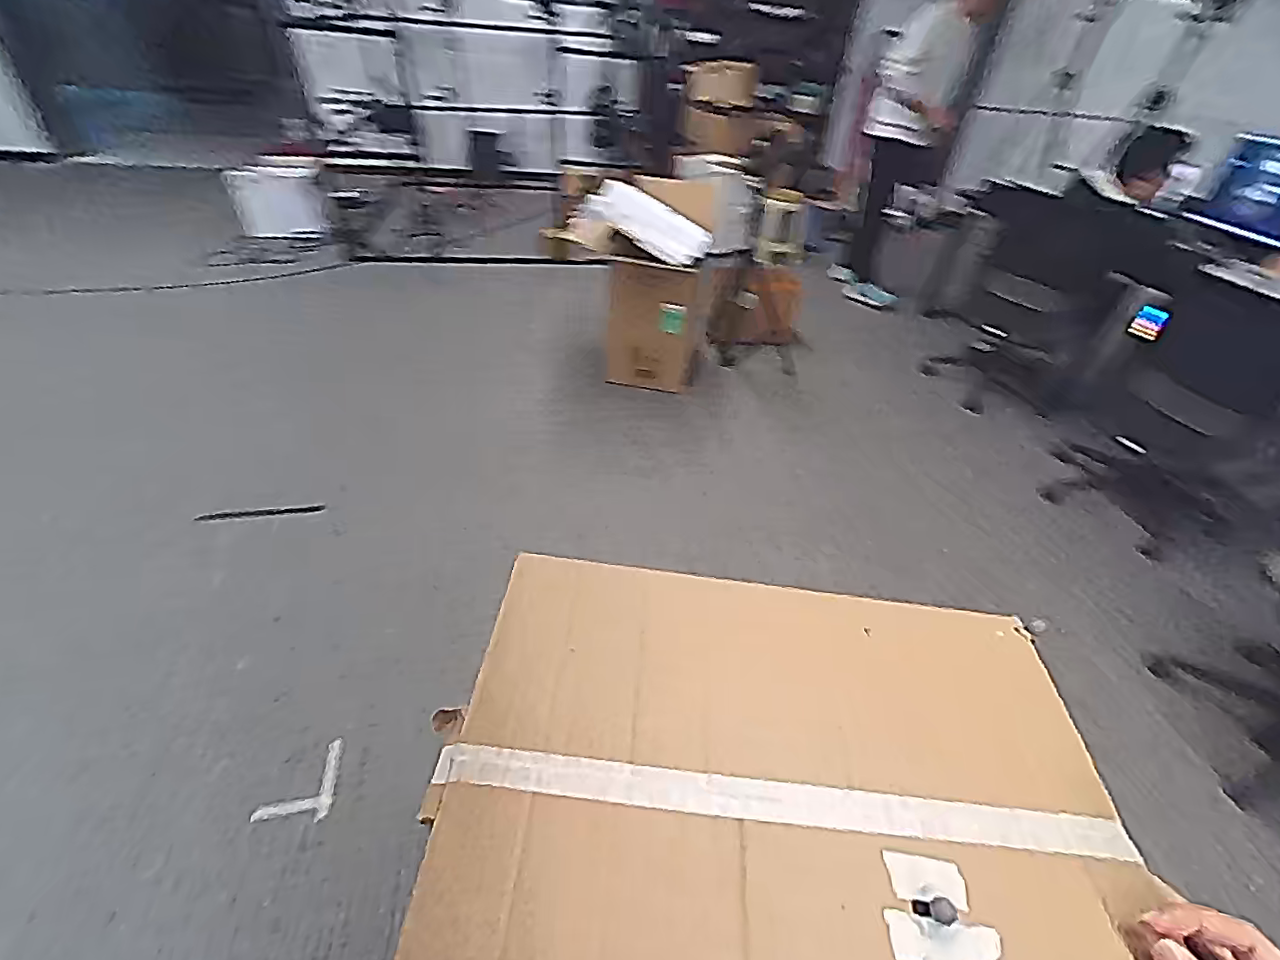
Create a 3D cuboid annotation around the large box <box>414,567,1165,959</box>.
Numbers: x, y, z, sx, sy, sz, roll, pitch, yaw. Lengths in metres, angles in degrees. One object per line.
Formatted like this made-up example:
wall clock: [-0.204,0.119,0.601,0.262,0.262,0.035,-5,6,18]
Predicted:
large box: [0.070,0.302,0.430,0.408,0.320,0.320,8,44,-3]
